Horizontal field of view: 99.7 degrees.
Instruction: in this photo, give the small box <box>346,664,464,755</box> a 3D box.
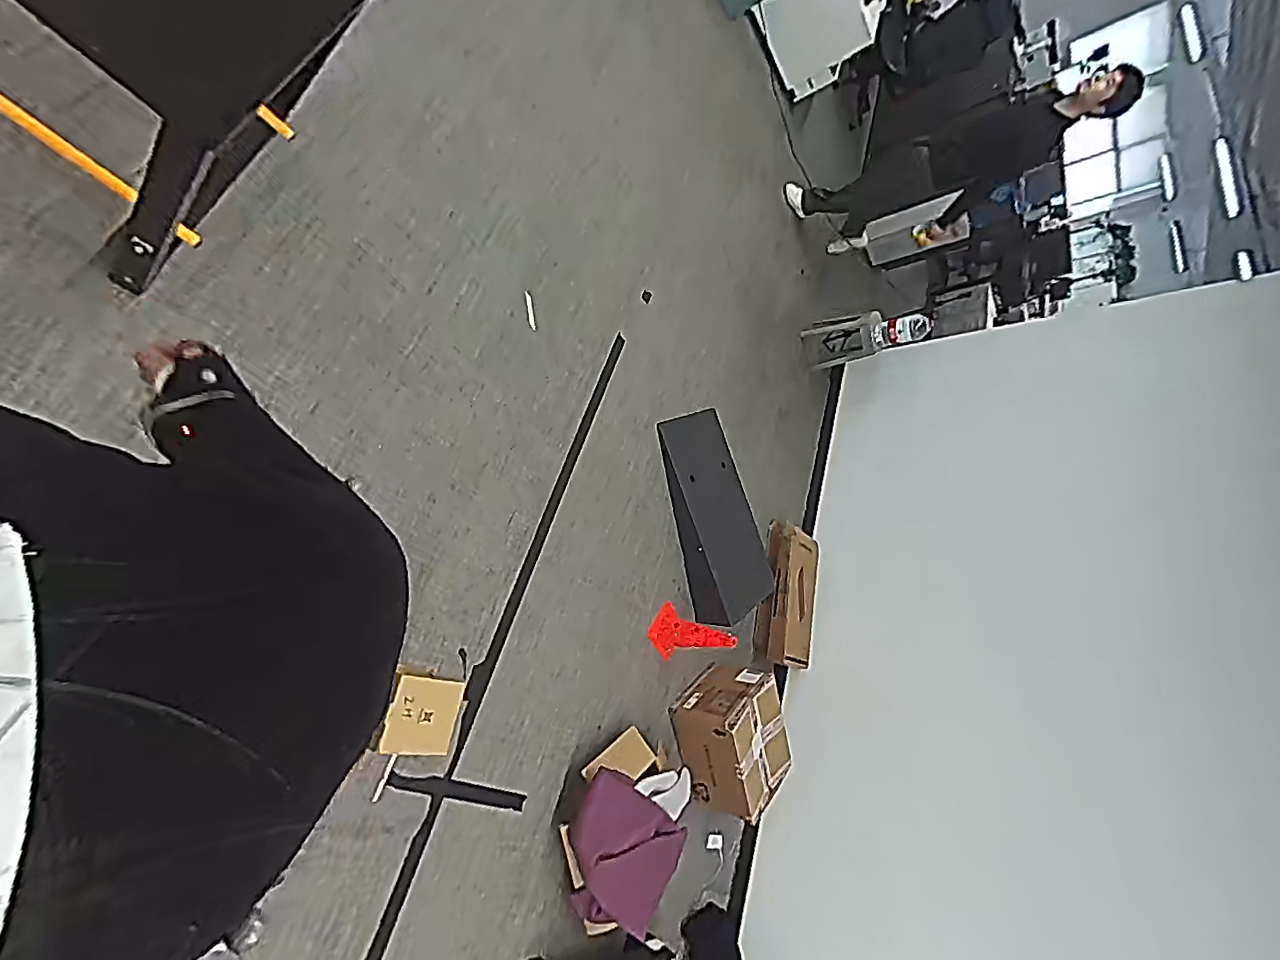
[{"bbox_3d":[-0.561,0.545,1.292,0.179,0.176,0.168,31,63,-44],"label":"small box"}]
